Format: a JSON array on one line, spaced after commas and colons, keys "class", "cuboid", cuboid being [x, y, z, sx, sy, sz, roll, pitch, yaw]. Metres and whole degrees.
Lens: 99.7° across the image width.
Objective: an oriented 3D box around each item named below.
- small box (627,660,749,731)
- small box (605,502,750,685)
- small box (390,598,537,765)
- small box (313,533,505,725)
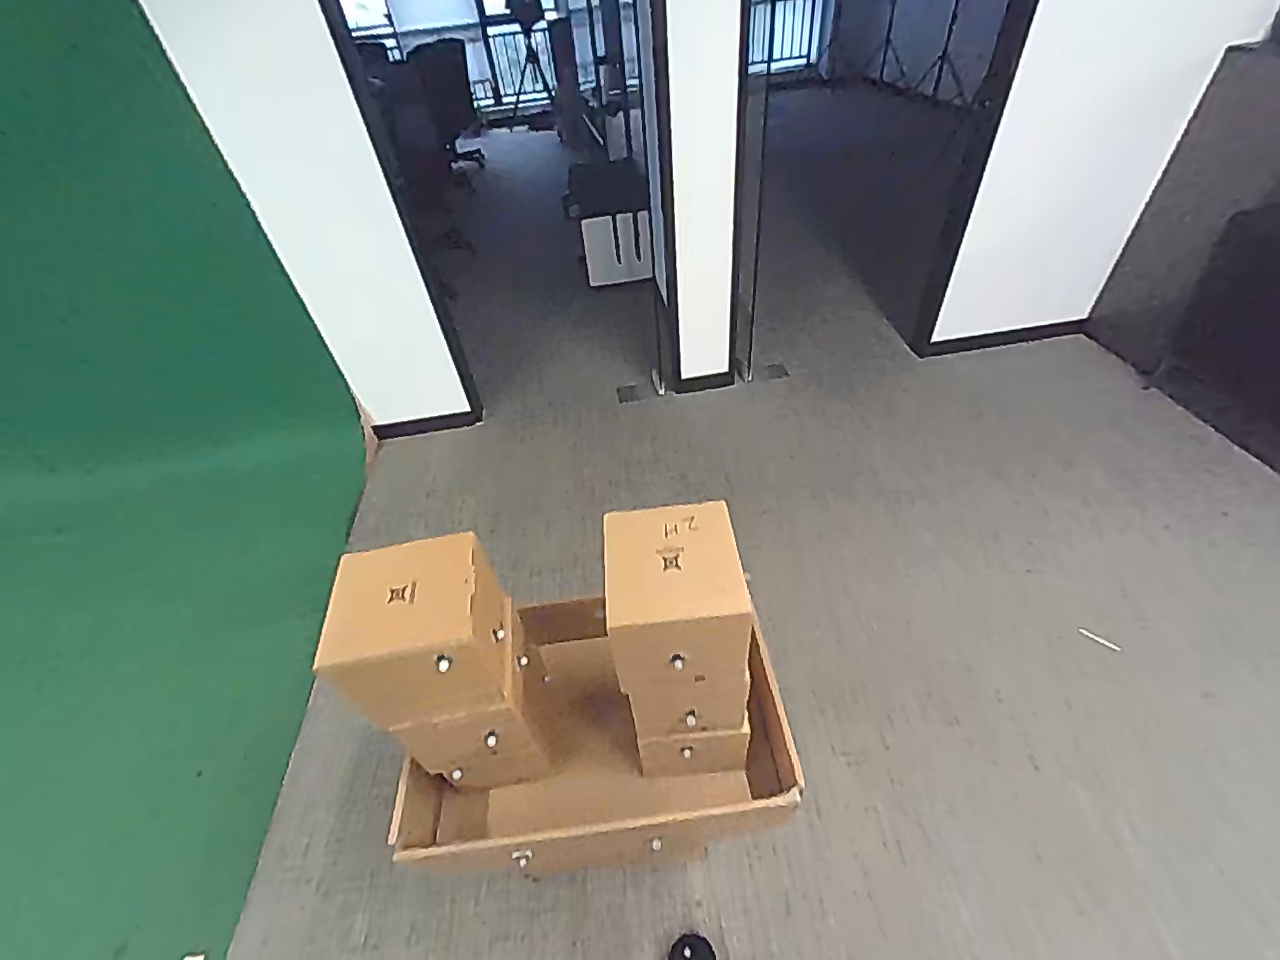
[{"class": "small box", "cuboid": [0.067, 0.269, 0.827, 0.168, 0.176, 0.179, -6, 45, 1]}, {"class": "small box", "cuboid": [0.046, 0.154, 0.710, 0.168, 0.176, 0.179, -6, 44, 1]}, {"class": "small box", "cuboid": [-0.255, 0.312, 0.824, 0.168, 0.176, 0.179, -10, 44, -4]}, {"class": "small box", "cuboid": [-0.284, 0.199, 0.711, 0.179, 0.176, 0.168, -10, 44, -6]}]
